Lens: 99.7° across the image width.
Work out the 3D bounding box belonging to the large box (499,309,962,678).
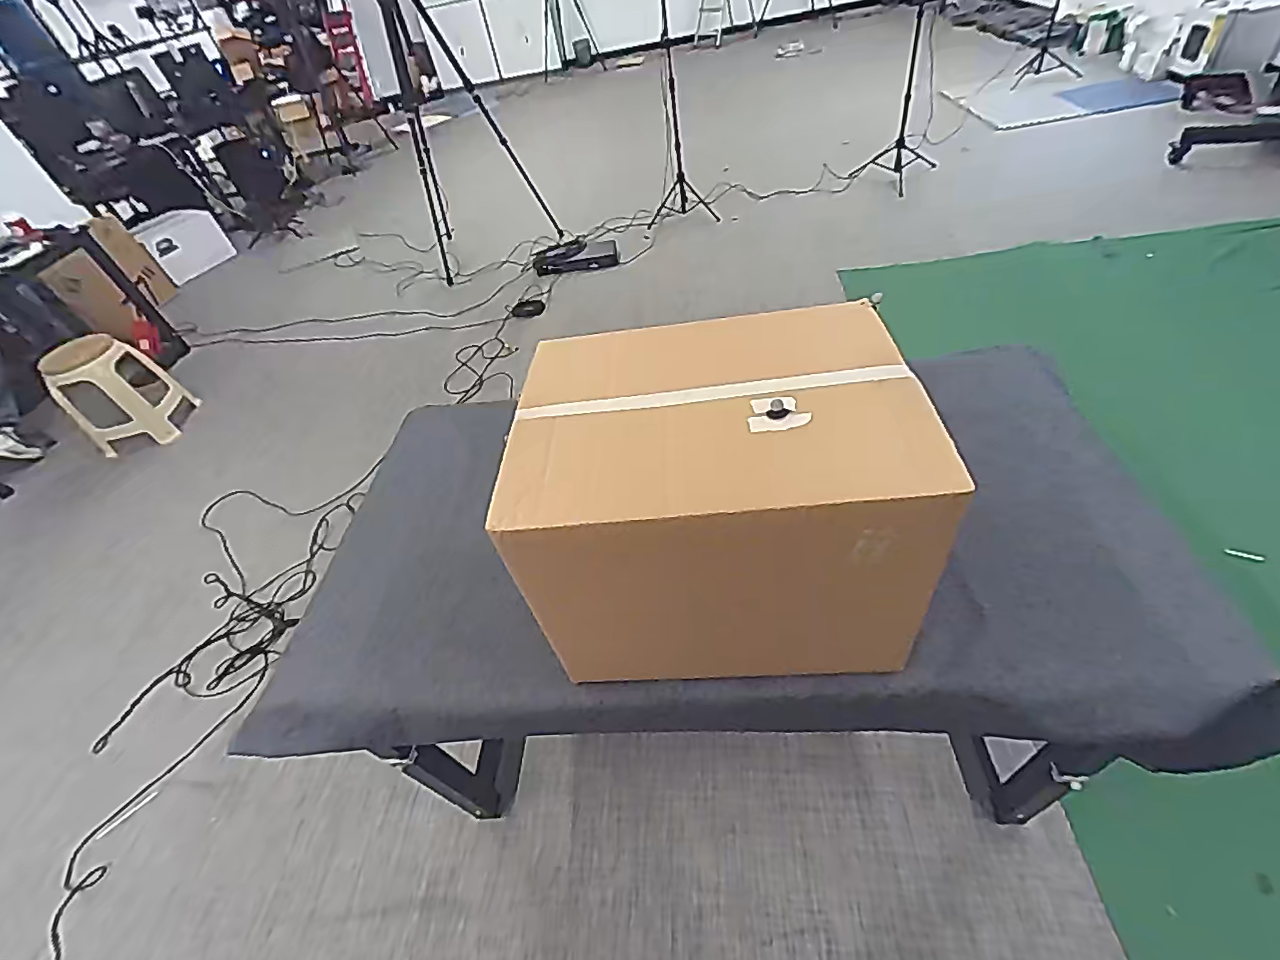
[{"bbox_3d":[0.090,0.024,0.667,0.408,0.320,0.320,-5,45,7],"label":"large box"}]
